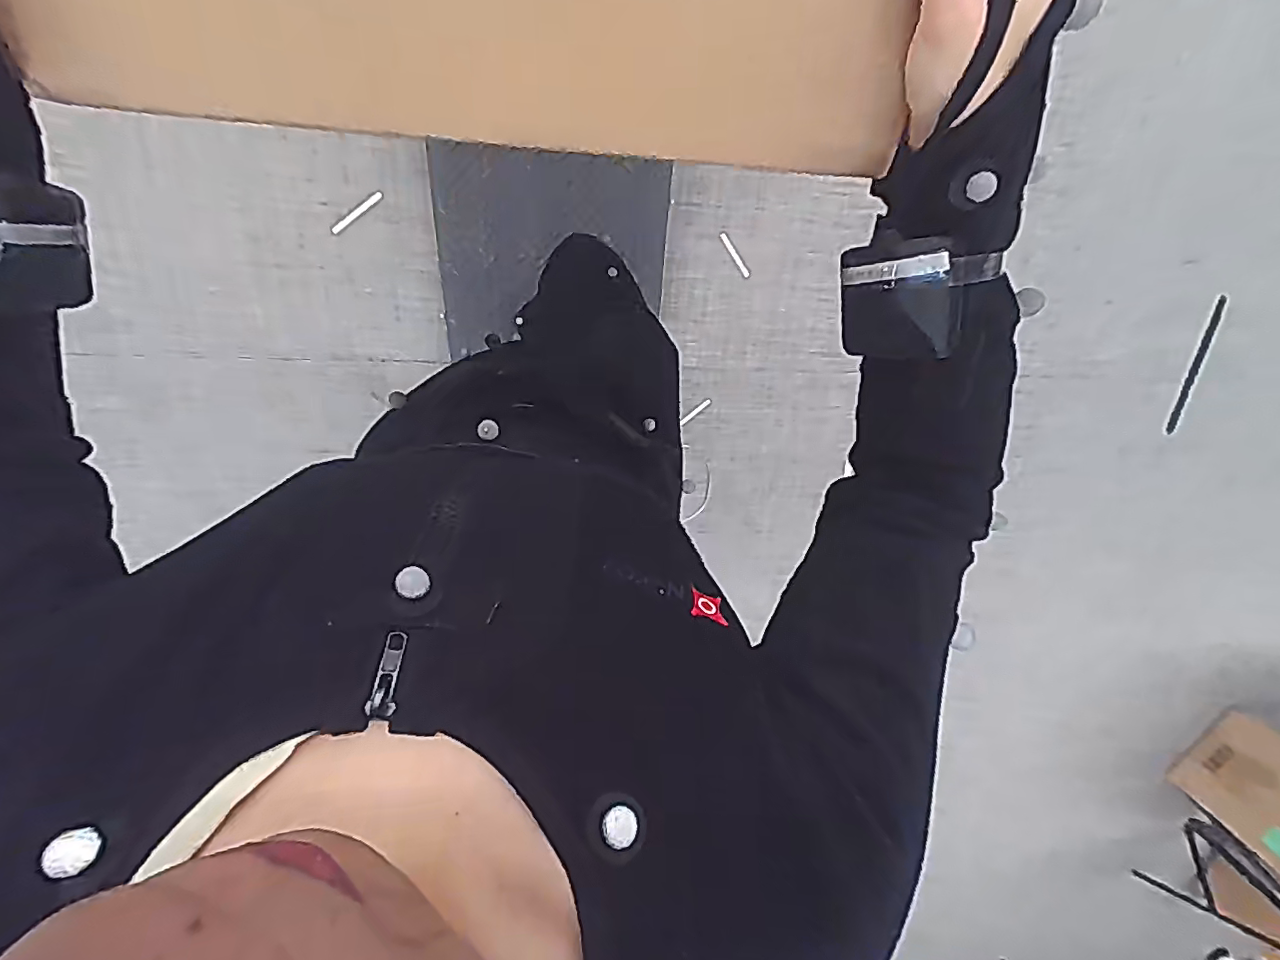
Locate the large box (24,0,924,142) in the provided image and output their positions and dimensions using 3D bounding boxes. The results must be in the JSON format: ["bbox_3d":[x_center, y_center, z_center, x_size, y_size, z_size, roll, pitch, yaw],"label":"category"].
[{"bbox_3d":[-0.069,-0.393,0.290,0.408,0.320,0.320,1,129,-7],"label":"large box"}]

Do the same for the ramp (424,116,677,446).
[{"bbox_3d":[-0.182,-0.513,1.171,0.509,0.206,0.991,-1,113,-7],"label":"ramp"}]
